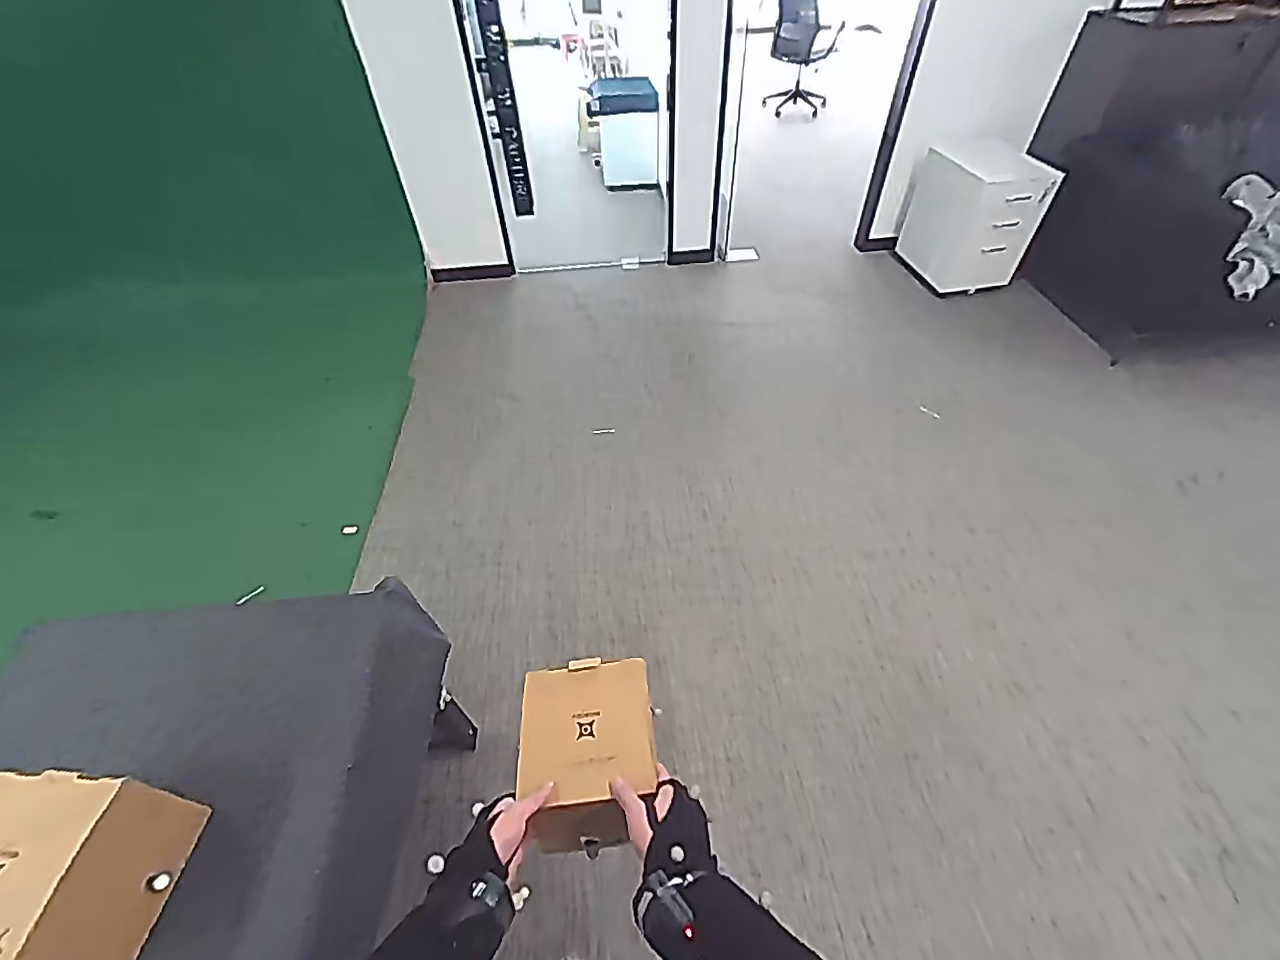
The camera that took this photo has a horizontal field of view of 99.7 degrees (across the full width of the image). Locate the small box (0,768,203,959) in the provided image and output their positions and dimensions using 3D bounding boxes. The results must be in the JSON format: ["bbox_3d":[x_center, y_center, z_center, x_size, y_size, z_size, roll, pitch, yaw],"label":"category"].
[{"bbox_3d":[-0.676,0.464,0.639,0.168,0.176,0.179,2,48,3],"label":"small box"}]

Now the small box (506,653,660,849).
[{"bbox_3d":[-0.065,0.356,0.715,0.168,0.176,0.179,-6,40,2],"label":"small box"}]
